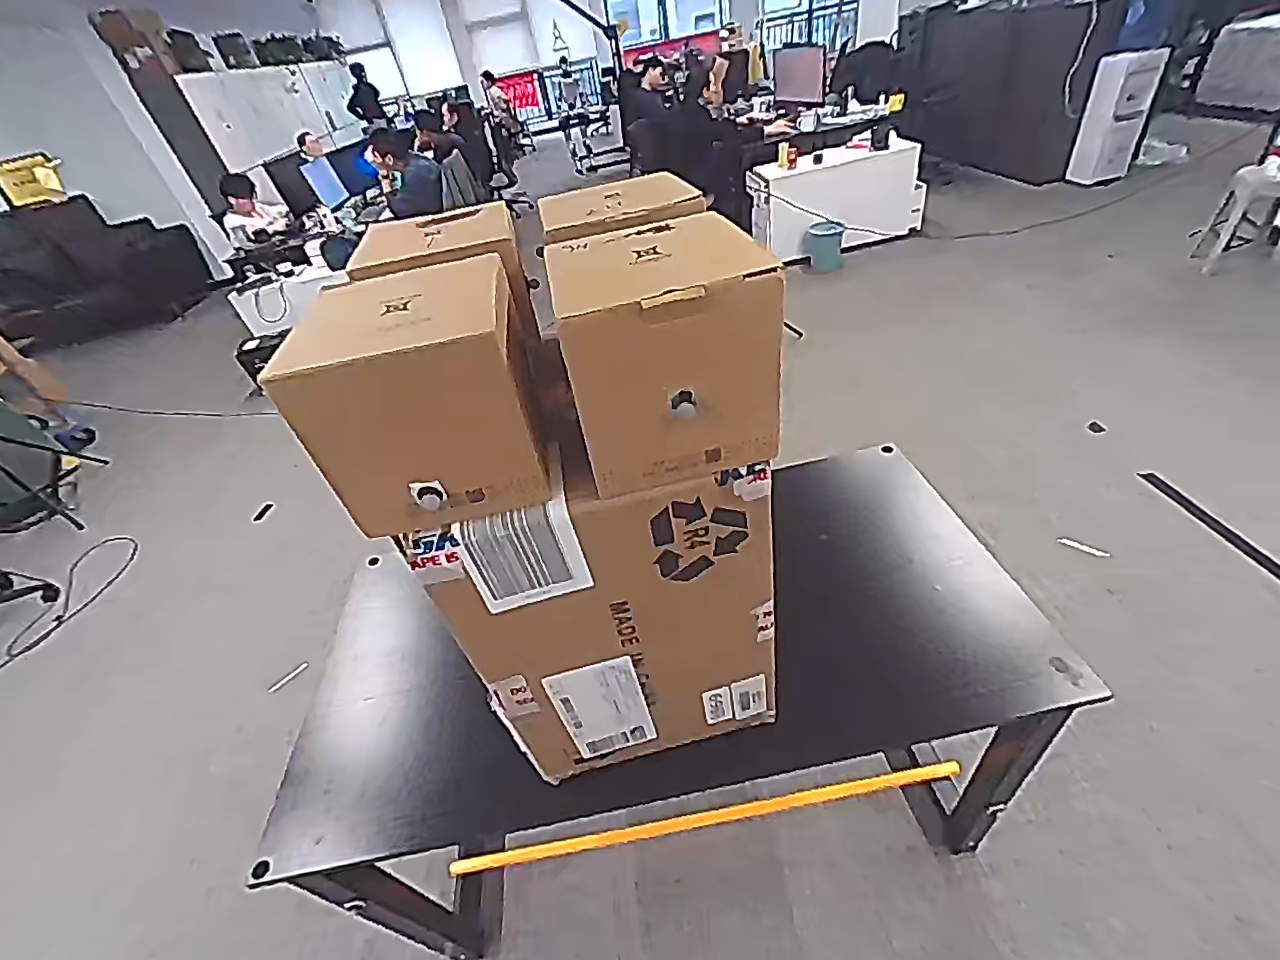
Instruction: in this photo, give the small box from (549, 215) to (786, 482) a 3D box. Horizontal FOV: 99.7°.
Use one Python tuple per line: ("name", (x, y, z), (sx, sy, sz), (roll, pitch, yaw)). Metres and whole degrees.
("small box", (0.020, -0.114, 0.486), (0.168, 0.176, 0.179), (-12, 41, -4))
